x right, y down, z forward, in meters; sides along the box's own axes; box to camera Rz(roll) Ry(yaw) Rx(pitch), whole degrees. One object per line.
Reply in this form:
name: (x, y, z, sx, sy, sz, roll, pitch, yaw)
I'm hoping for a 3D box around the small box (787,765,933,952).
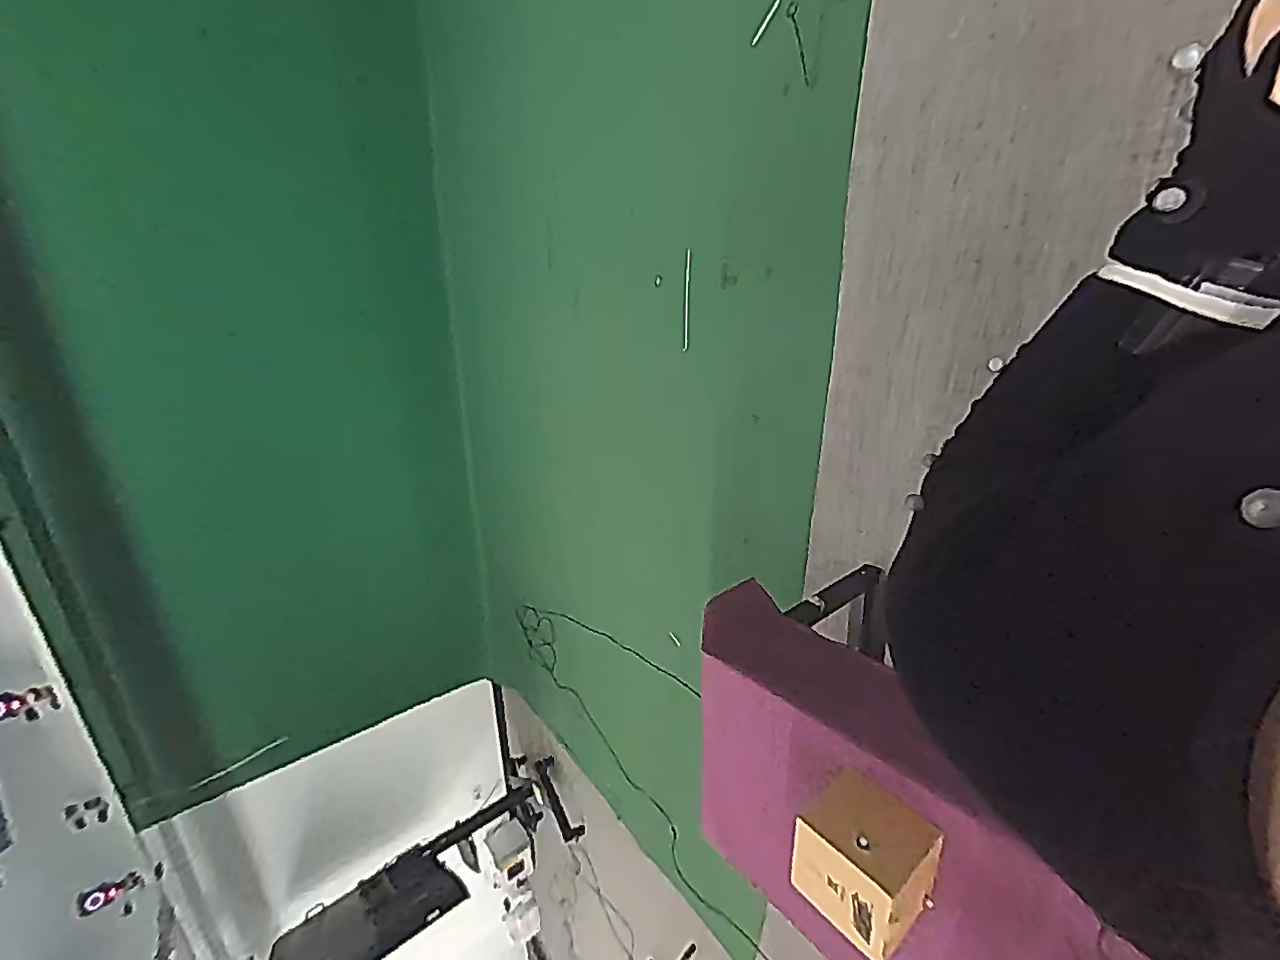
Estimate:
small box: (0.386, 0.650, 0.954, 0.179, 0.176, 0.168, 22, 120, 48)
